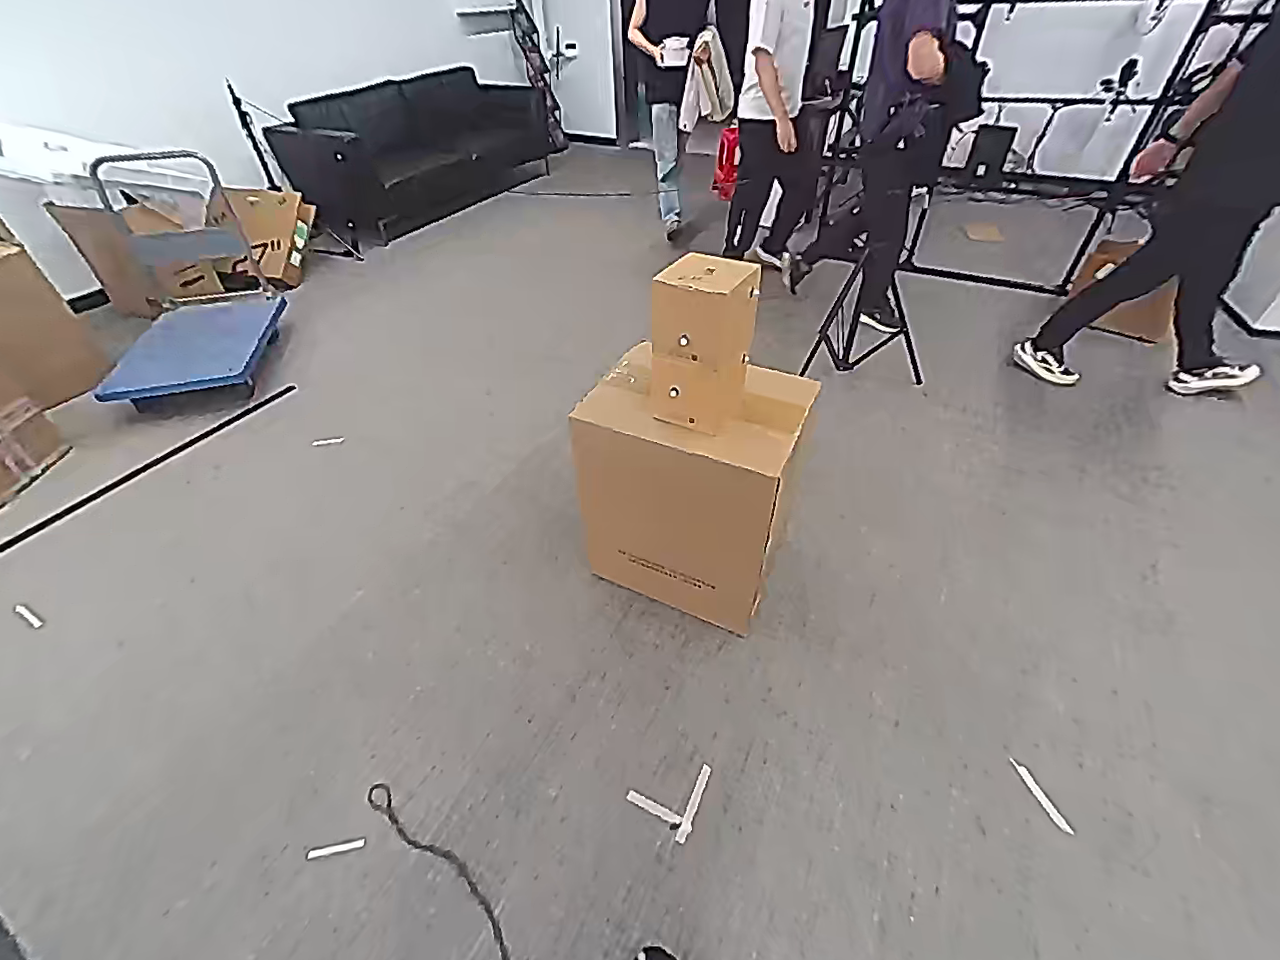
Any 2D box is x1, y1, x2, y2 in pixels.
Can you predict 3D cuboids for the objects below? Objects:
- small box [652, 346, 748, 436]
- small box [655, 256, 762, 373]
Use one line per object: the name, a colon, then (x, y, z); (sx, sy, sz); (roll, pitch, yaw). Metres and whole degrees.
small box: (0.141, -0.226, 1.254); (0.168, 0.176, 0.179); (19, 45, 22)
small box: (0.142, -0.353, 1.147); (0.168, 0.176, 0.179); (20, 46, 24)
